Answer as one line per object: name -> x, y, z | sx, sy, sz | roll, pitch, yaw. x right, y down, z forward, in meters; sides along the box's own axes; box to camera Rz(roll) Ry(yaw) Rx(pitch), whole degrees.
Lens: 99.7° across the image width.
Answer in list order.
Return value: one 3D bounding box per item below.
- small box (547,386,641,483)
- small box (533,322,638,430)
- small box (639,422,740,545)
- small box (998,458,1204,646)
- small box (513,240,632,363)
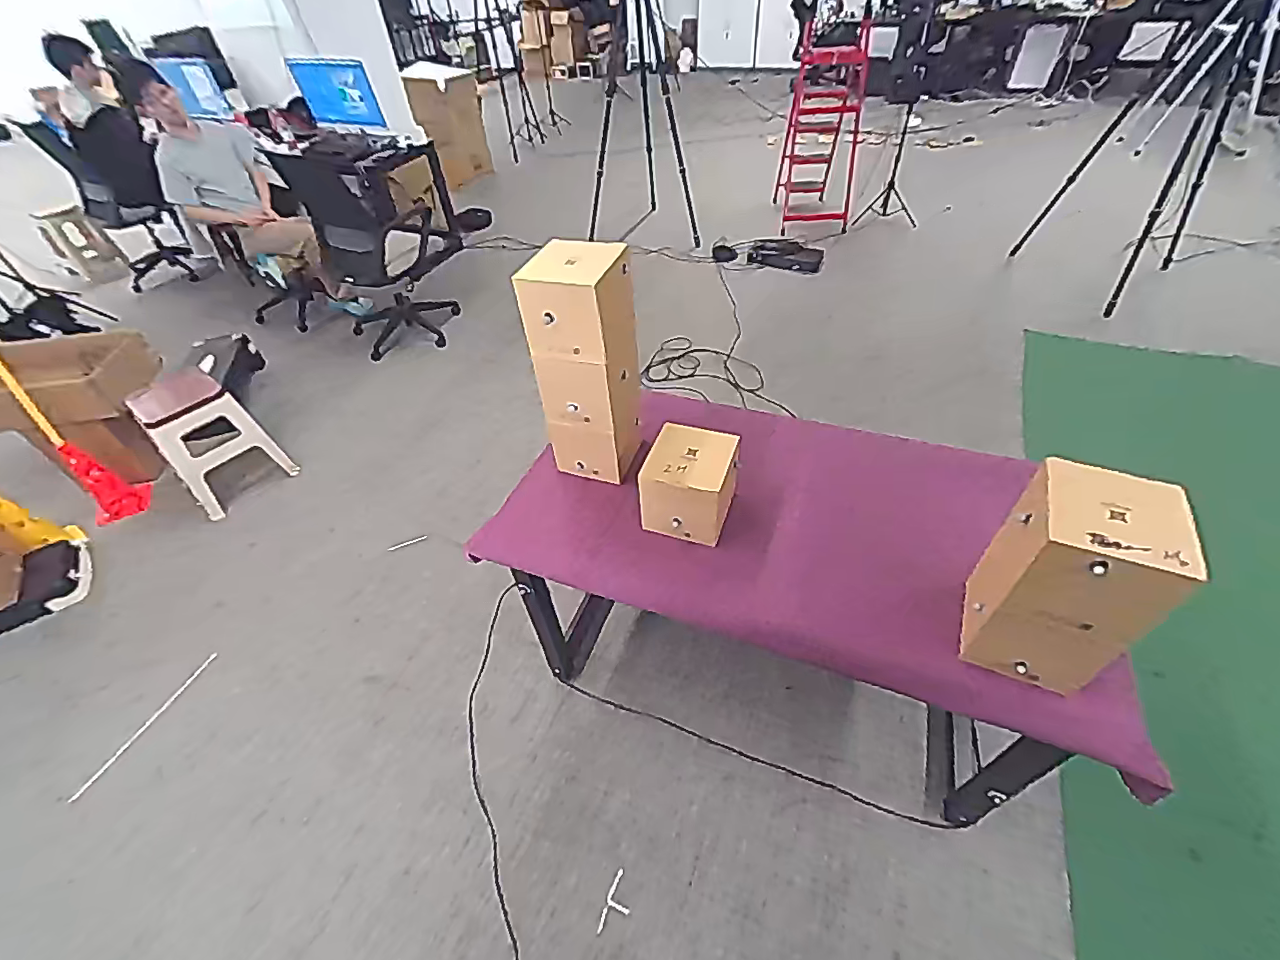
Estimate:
small box -> -0.100, -0.121, 1.292 | 0.168, 0.176, 0.179 | 12, 49, 16
small box -> -0.109, -0.236, 1.175 | 0.168, 0.176, 0.179 | 11, 48, 16
small box -> 0.106, 0.006, 1.149 | 0.168, 0.176, 0.179 | 13, 48, 17
small box -> 0.639, 0.101, 0.777 | 0.168, 0.176, 0.179 | 17, 48, 22
small box -> -0.120, -0.349, 1.060 | 0.168, 0.176, 0.179 | 11, 47, 16
